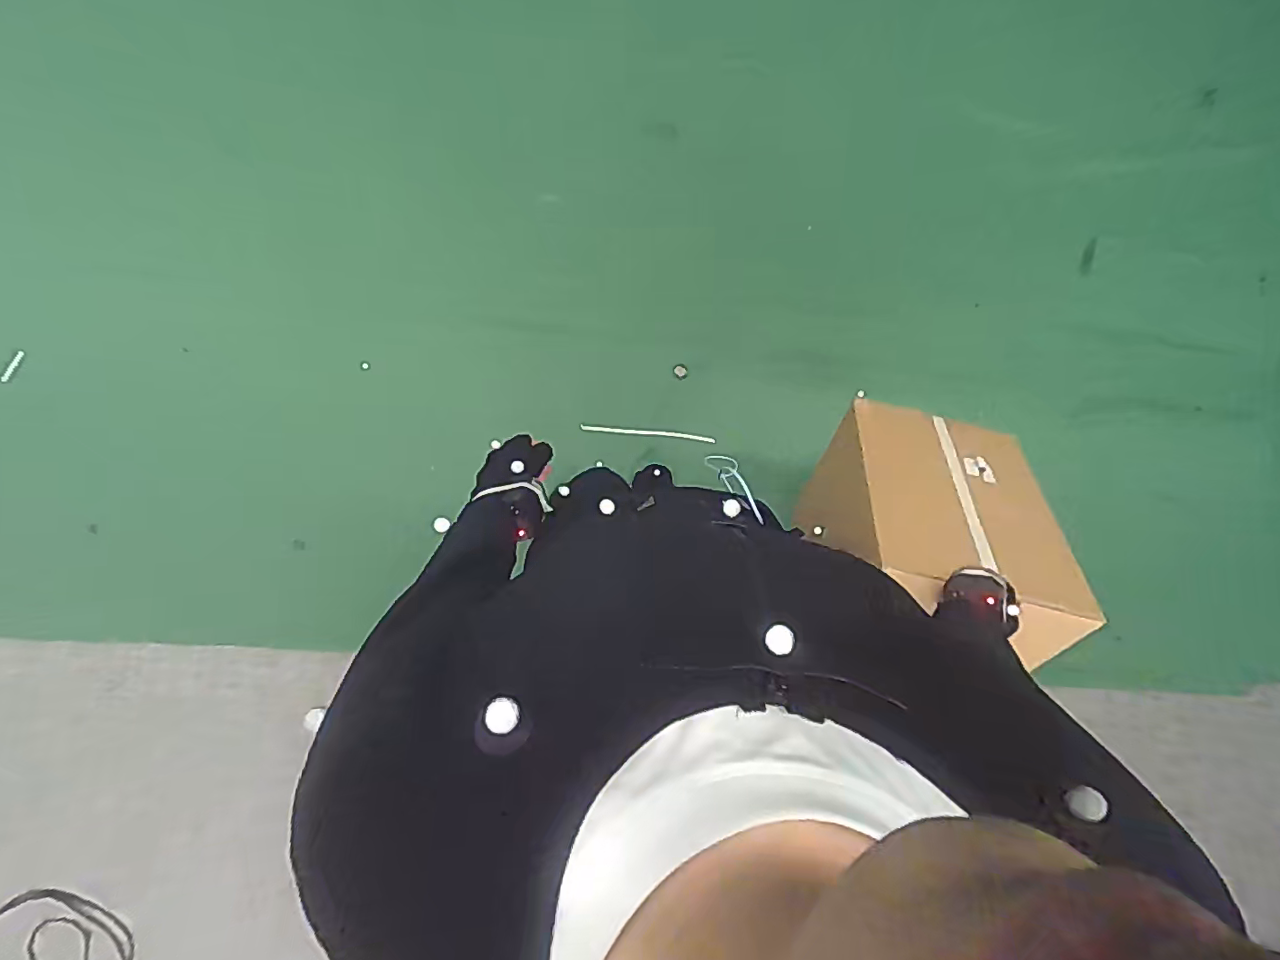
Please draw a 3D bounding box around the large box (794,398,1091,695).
[{"bbox_3d":[0.487,0.116,0.991,0.320,0.408,0.320,14,134,0],"label":"large box"}]
